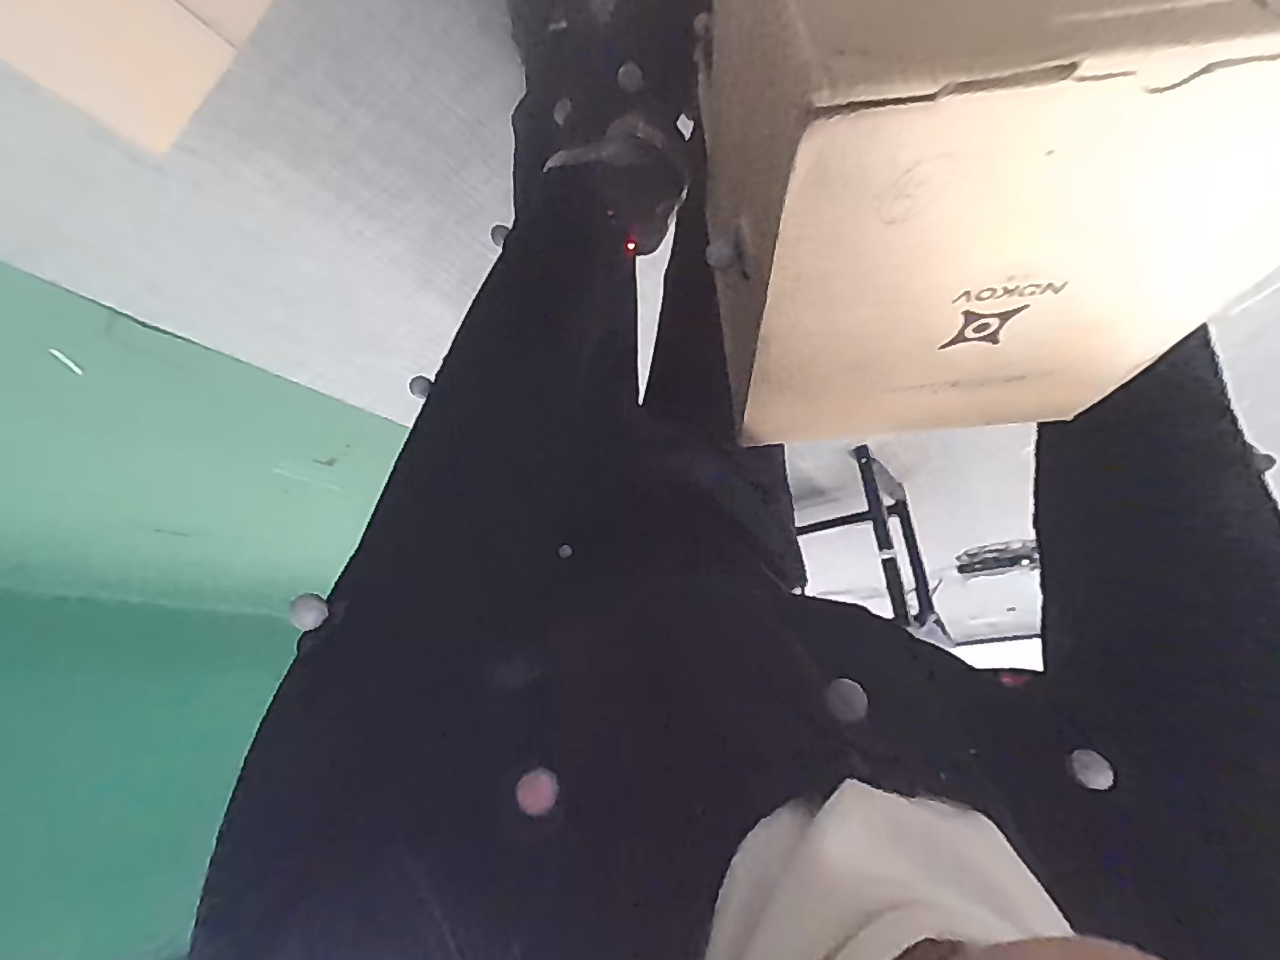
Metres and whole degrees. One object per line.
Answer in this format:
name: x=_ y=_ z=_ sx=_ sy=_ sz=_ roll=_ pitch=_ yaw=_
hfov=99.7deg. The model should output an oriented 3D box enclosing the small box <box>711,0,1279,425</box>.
small box: x=0.119 y=-0.143 z=0.230 sx=0.168 sy=0.176 sz=0.179 roll=-4 pitch=158 yaw=5
